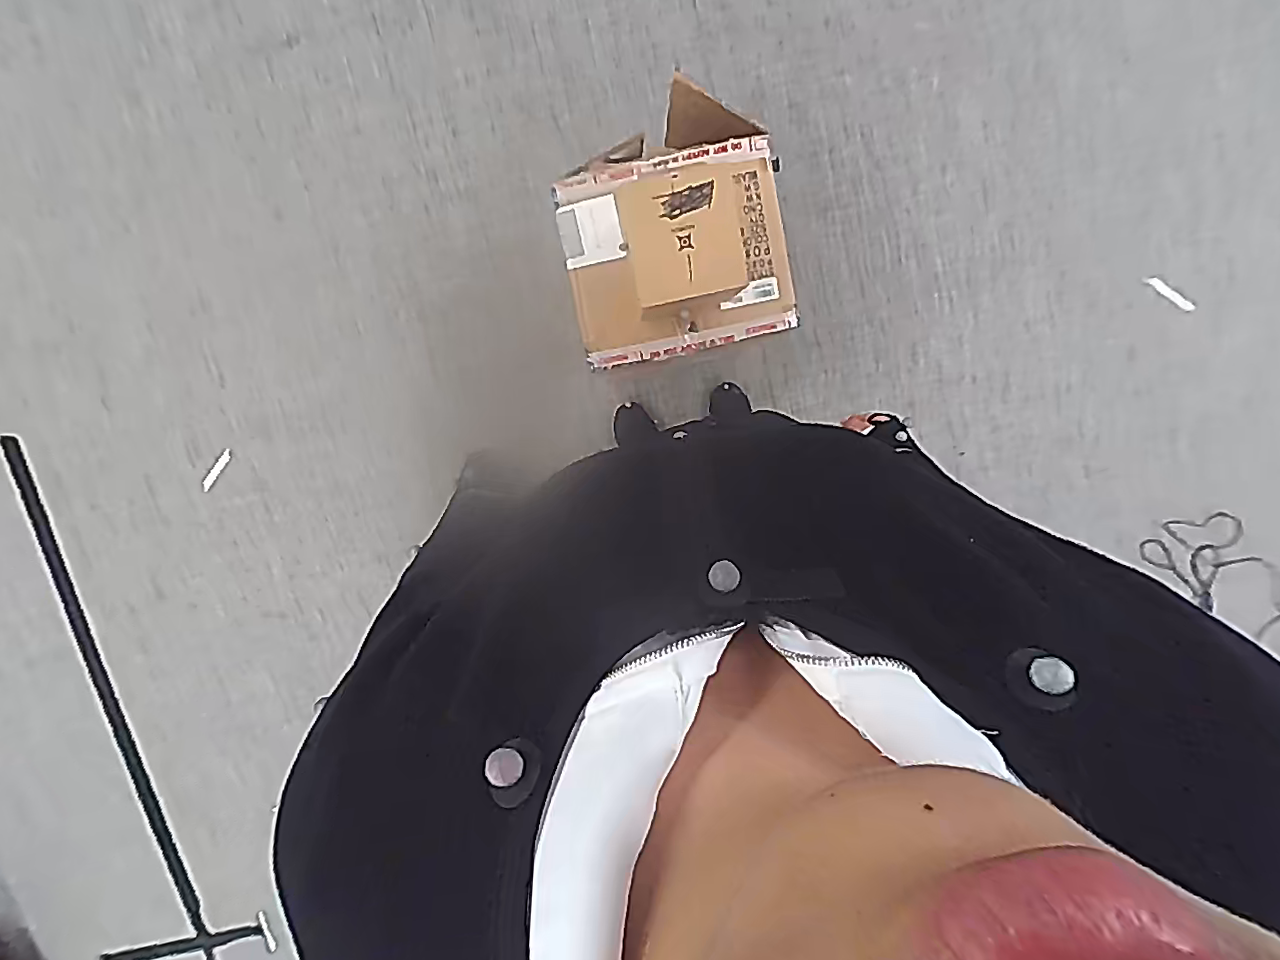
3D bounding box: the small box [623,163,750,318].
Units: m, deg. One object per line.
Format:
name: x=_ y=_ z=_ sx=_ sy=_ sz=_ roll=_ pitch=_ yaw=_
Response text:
small box: x=0.067 y=-0.372 z=0.869 sx=0.168 sy=0.176 sz=0.179 roll=-12 pitch=101 yaw=2
